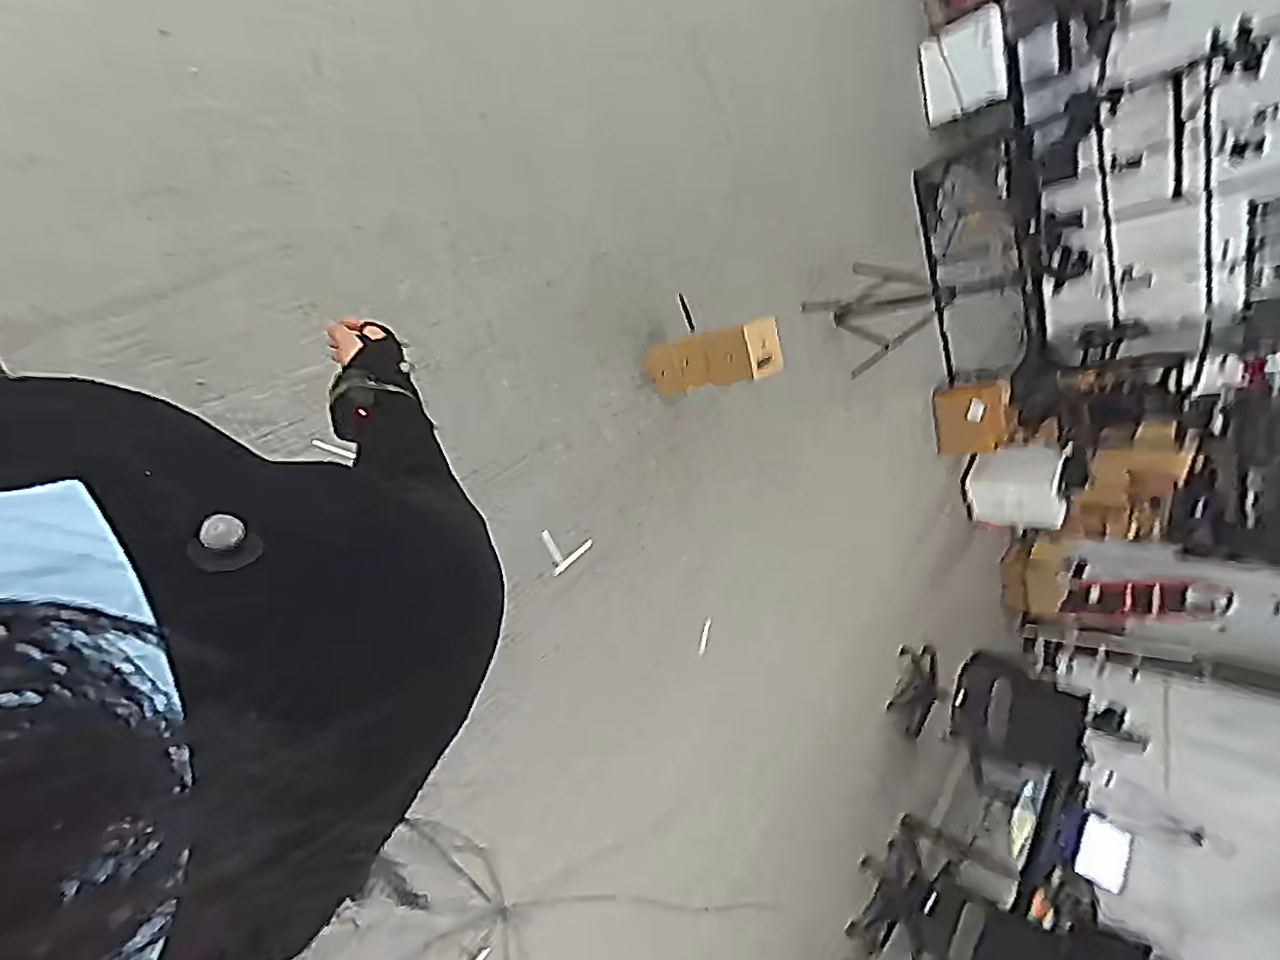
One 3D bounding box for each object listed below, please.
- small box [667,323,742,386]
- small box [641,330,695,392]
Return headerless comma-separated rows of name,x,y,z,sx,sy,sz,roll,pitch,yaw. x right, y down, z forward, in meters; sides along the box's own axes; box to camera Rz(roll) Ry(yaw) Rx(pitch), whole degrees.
small box,0.226,-0.441,1.905,0.179,0.176,0.168,-32,111,-35
small box,0.124,-0.442,2.032,0.179,0.176,0.168,-40,117,-34
